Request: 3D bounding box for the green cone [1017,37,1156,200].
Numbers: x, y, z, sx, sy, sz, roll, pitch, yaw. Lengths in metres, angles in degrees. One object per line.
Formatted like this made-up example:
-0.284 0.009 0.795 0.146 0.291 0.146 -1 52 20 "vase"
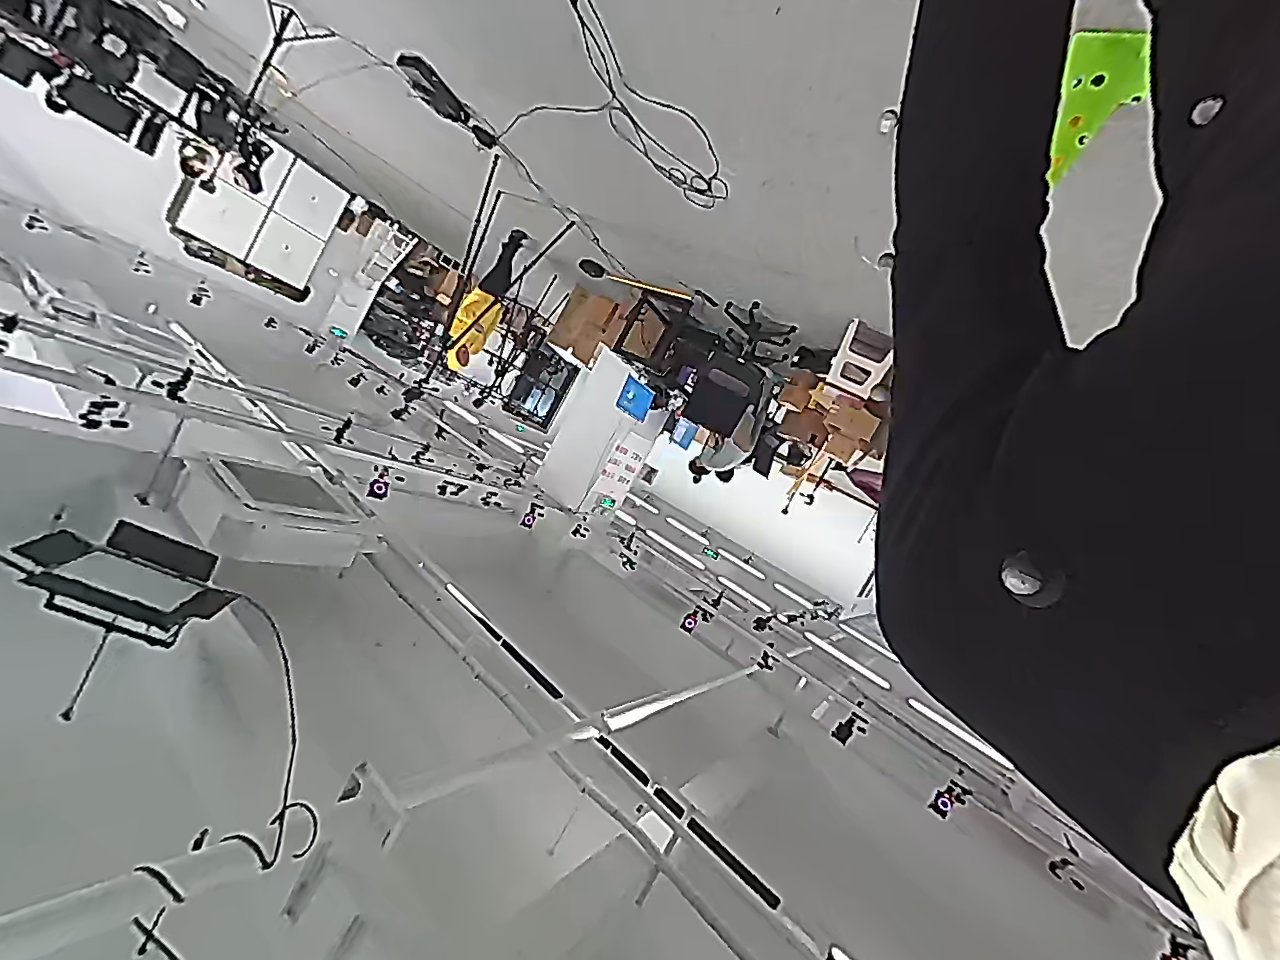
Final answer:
1.107 -0.905 1.411 0.202 0.368 0.200 32 -176 29 "green cone"
